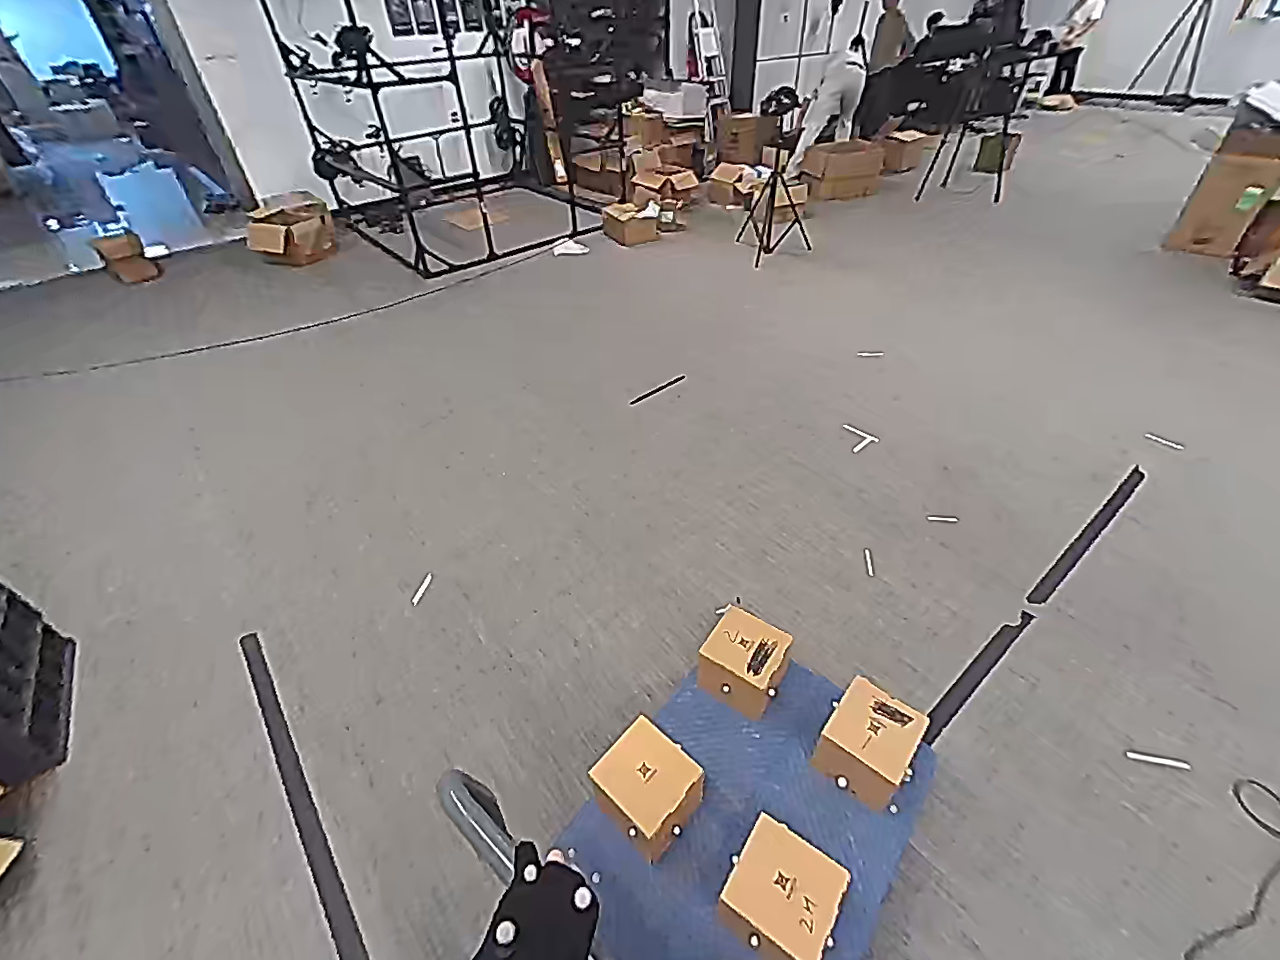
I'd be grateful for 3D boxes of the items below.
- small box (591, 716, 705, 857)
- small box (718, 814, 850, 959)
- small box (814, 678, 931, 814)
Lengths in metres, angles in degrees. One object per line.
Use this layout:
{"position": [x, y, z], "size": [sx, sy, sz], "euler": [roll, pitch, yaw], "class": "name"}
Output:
{"position": [0.016, 0.652, 1.149], "size": [0.179, 0.176, 0.168], "euler": [31, 51, 31], "class": "small box"}
{"position": [0.257, 0.770, 0.994], "size": [0.179, 0.176, 0.168], "euler": [24, 48, 29], "class": "small box"}
{"position": [0.504, 0.586, 1.193], "size": [0.168, 0.176, 0.179], "euler": [29, 51, 32], "class": "small box"}
